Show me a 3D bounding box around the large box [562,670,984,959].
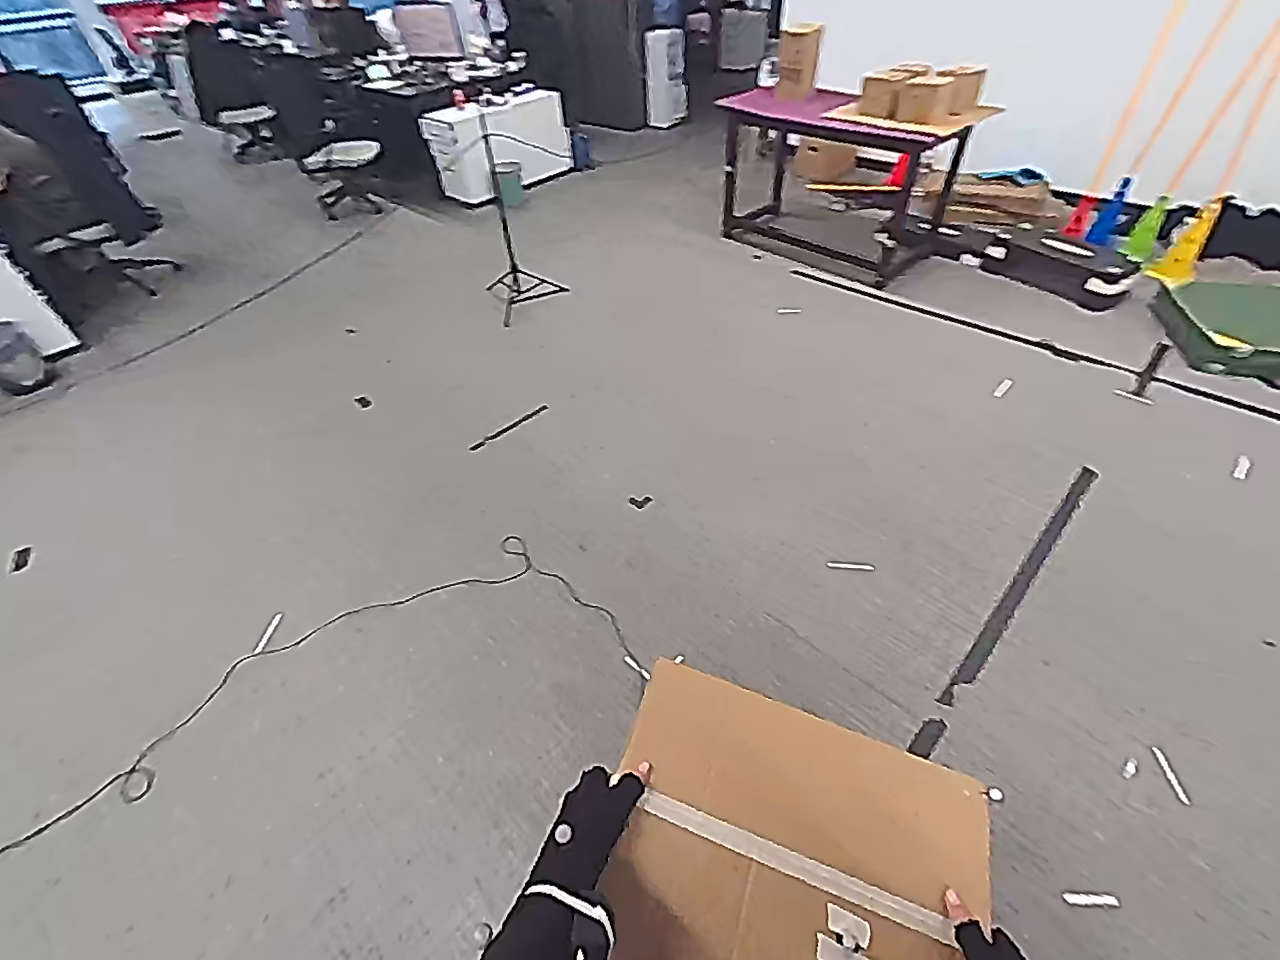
[{"bbox_3d":[0.150,0.503,0.694,0.408,0.320,0.320,18,54,11],"label":"large box"}]
